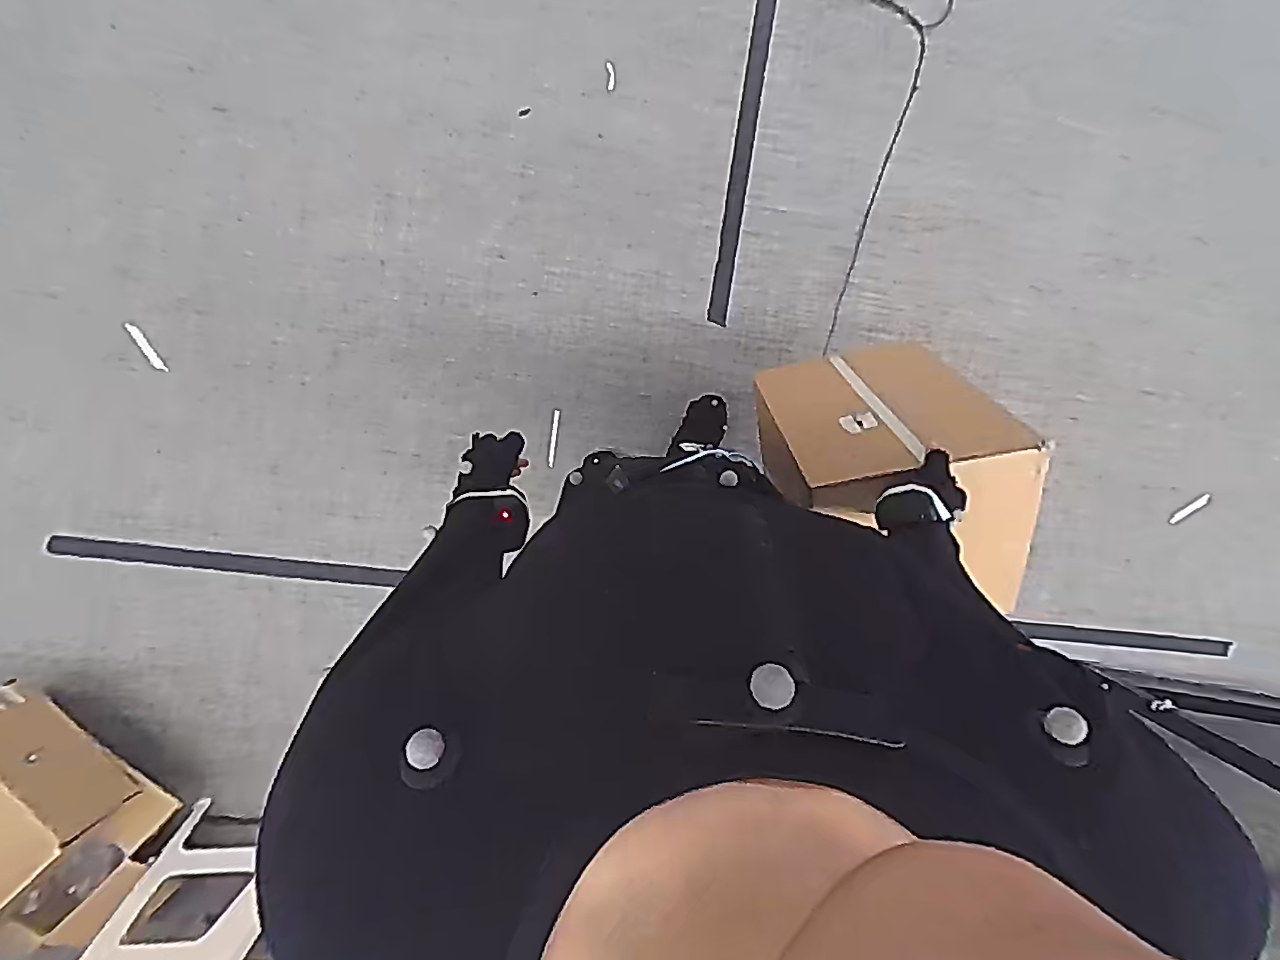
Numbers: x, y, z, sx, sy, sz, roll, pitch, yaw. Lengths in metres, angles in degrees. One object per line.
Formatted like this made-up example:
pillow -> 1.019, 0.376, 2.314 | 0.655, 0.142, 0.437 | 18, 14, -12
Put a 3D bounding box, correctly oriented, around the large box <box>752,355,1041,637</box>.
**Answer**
large box -> 0.401, 0.012, 0.972 | 0.320, 0.408, 0.320 | -9, 123, 5
